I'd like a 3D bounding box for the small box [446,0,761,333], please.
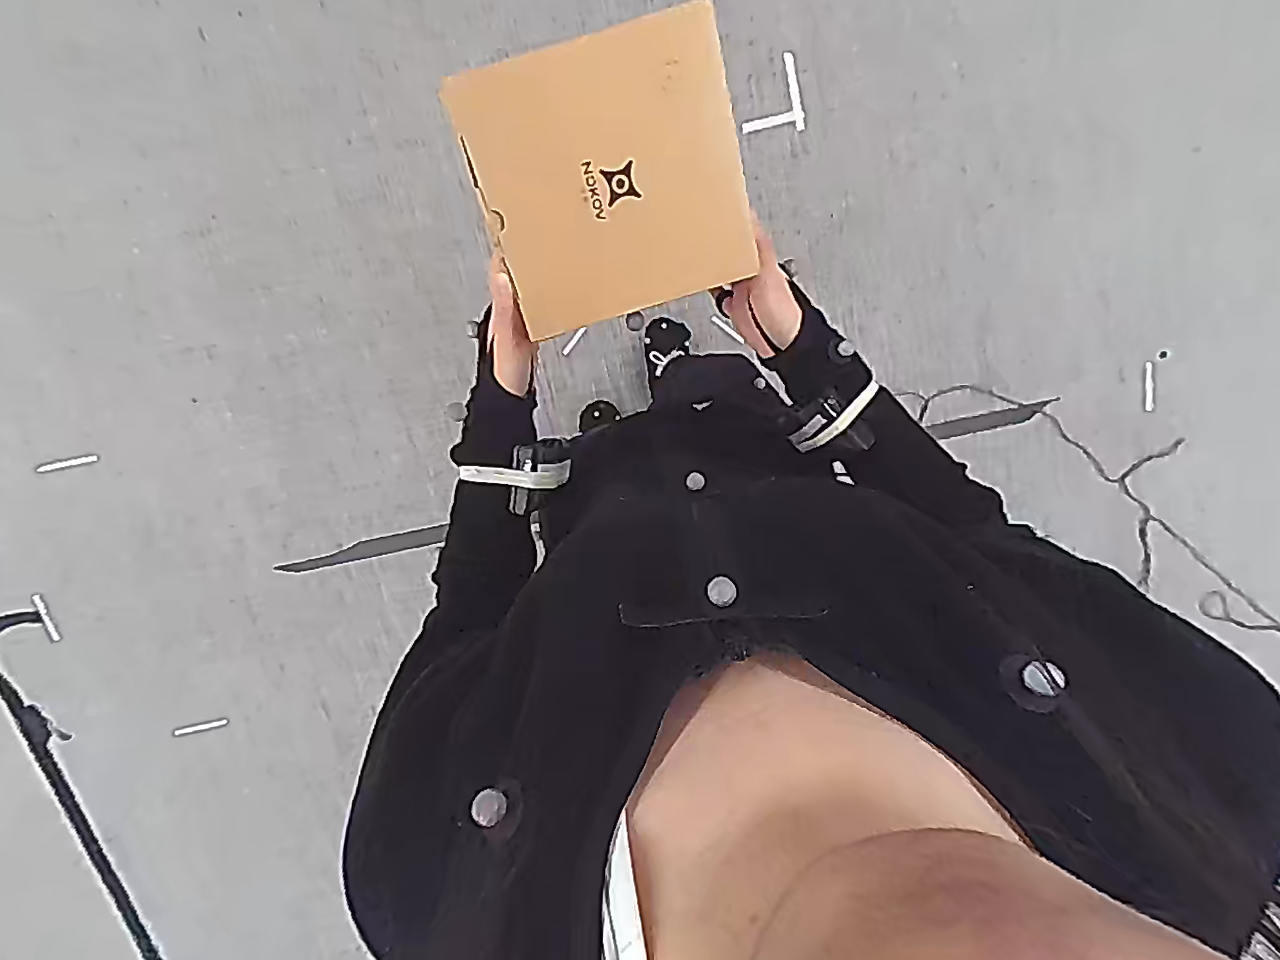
[{"bbox_3d":[-0.024,-0.232,0.430,0.179,0.176,0.168,-17,113,2],"label":"small box"}]
